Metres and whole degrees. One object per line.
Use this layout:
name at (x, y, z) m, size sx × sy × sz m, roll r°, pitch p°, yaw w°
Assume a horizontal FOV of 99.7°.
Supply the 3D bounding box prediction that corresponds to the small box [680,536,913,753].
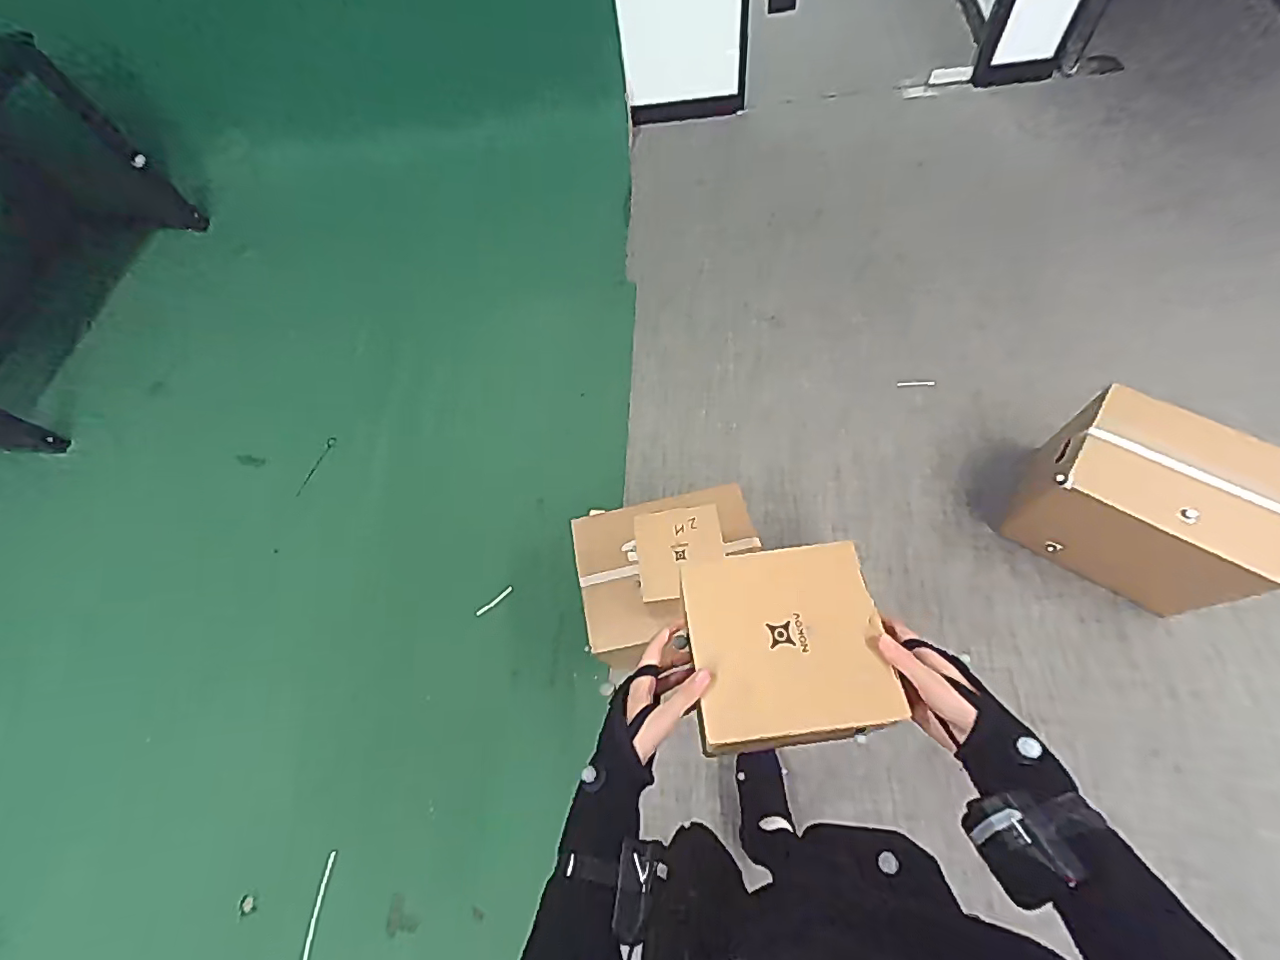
small box at (0.139, 0.175, 0.556) m, size 0.179 × 0.176 × 0.168 m, roll -7°, pitch 59°, yaw -1°

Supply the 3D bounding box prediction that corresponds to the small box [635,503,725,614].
small box at (0.086, 0.165, 1.080) m, size 0.168 × 0.176 × 0.179 m, roll -7°, pitch 64°, yaw 3°

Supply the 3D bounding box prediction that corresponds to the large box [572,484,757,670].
large box at (0.084, 0.249, 1.316) m, size 0.408 × 0.320 × 0.320 m, roll -14°, pitch 63°, yaw 2°
